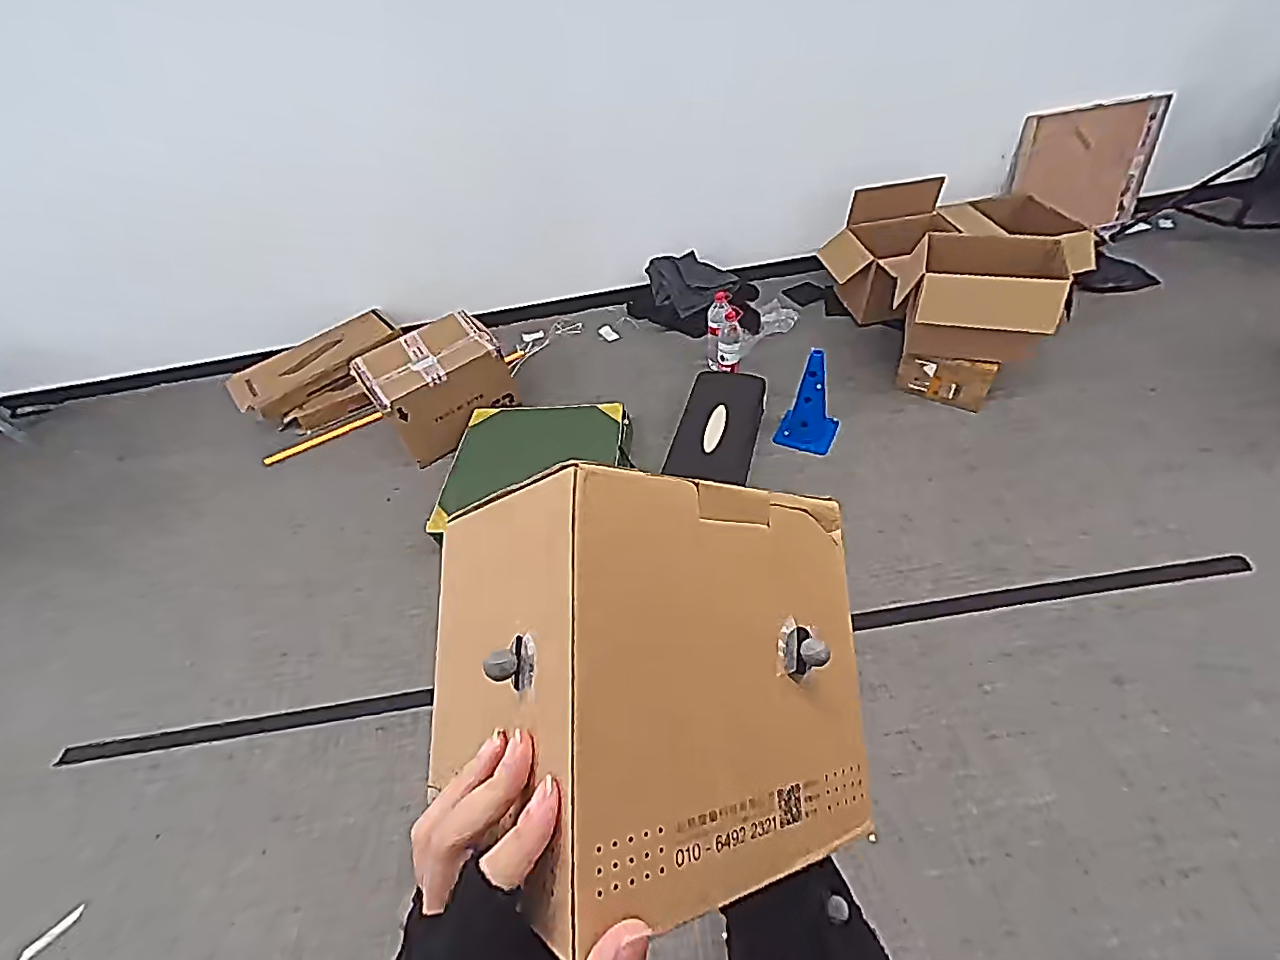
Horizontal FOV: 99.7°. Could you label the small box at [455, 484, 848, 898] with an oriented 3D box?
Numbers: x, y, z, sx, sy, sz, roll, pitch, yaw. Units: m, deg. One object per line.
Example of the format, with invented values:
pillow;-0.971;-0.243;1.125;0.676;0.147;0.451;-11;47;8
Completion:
small box;-0.001;0.106;0.318;0.168;0.179;0.176;8;74;-34
